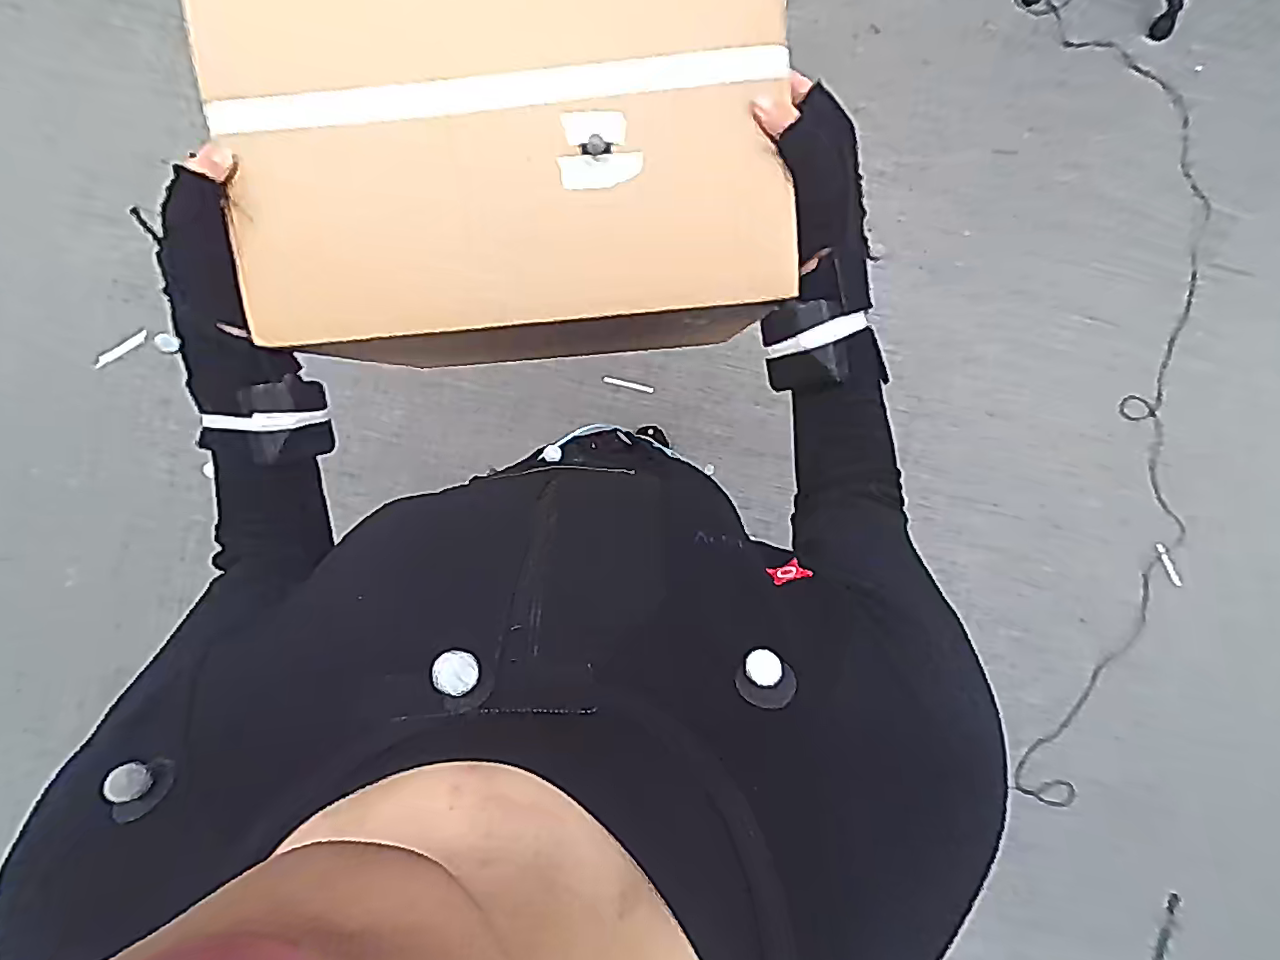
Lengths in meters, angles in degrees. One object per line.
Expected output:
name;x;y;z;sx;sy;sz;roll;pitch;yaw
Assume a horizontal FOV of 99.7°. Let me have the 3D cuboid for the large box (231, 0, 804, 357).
large box;-0.088;-0.305;0.536;0.408;0.320;0.320;-4;100;0
